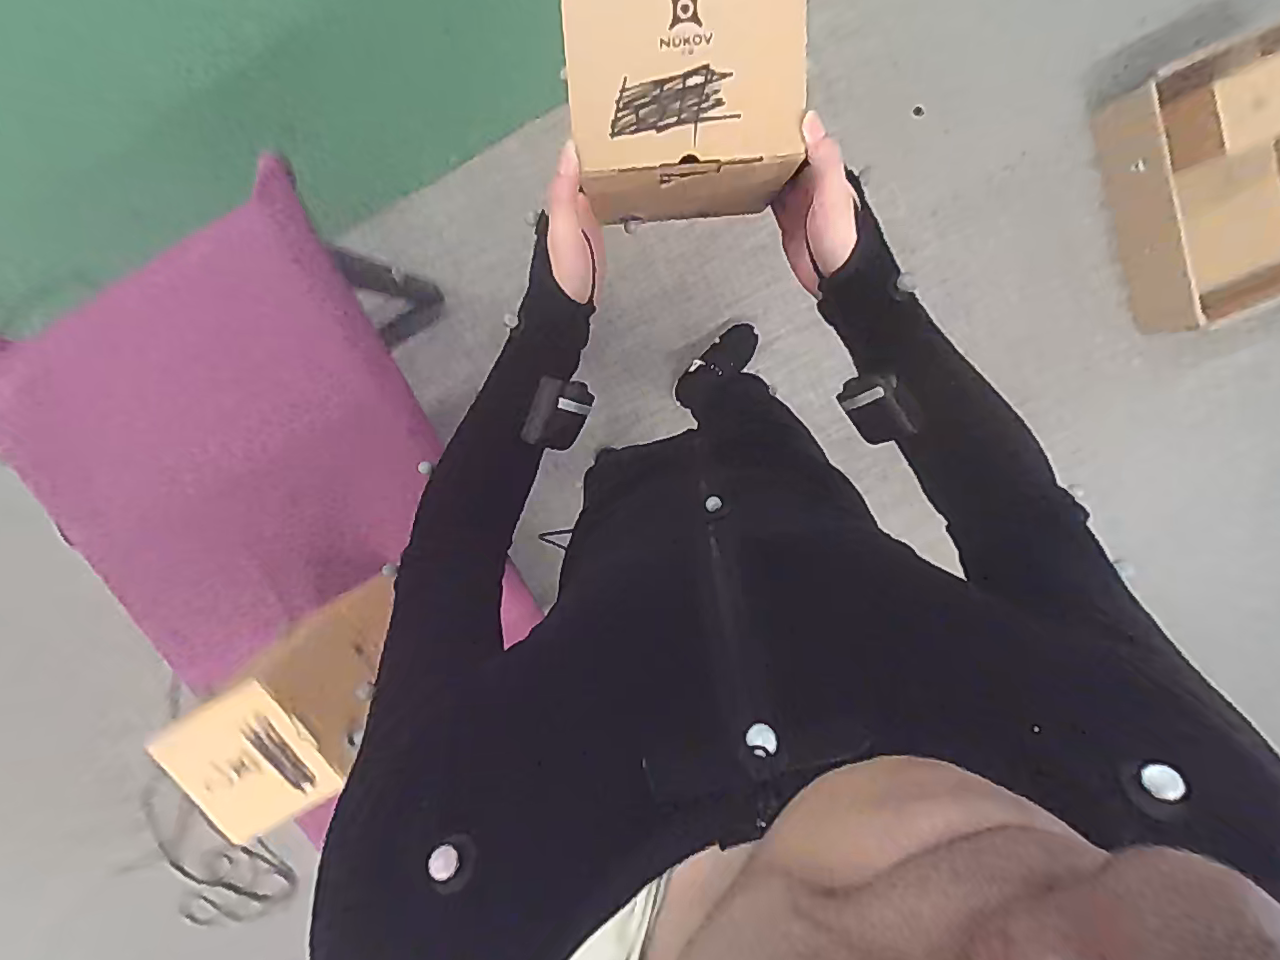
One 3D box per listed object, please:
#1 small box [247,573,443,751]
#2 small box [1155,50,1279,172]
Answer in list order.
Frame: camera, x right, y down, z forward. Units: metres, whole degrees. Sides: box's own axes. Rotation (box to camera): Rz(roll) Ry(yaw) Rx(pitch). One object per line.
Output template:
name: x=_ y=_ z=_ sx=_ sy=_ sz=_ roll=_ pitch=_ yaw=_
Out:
small box: x=-0.449 y=0.277 z=0.854 sx=0.179 sy=0.176 sz=0.168 roll=-29 pitch=101 yaw=7
small box: x=1.382 y=-0.863 z=1.267 sx=0.179 sy=0.176 sz=0.168 roll=-23 pitch=100 yaw=6
